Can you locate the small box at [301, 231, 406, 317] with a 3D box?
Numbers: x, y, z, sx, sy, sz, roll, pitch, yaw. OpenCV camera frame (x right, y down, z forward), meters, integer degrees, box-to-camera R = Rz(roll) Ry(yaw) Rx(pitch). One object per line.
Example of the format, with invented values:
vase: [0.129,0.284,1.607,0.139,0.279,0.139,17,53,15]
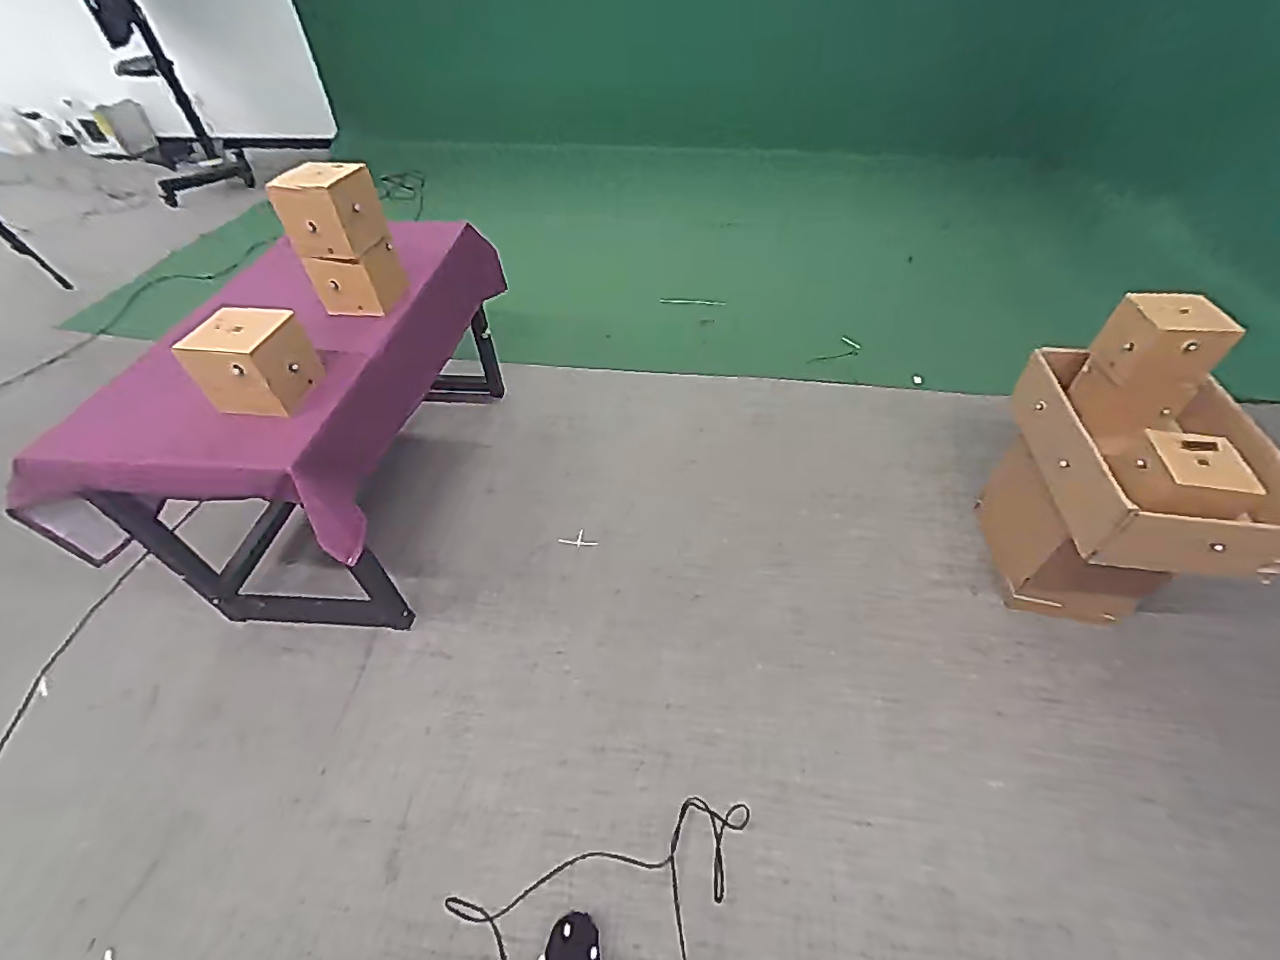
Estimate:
small box: [-0.770,-0.562,1.477,0.168,0.176,0.179,3,47,5]

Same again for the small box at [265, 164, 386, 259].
small box: [-0.772,-0.669,1.352,0.168,0.176,0.179,7,48,9]

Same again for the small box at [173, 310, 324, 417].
small box: [-0.843,-0.254,1.190,0.179,0.176,0.168,4,47,6]

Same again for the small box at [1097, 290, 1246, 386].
small box: [1.270,-0.344,1.317,0.179,0.176,0.168,3,48,4]
